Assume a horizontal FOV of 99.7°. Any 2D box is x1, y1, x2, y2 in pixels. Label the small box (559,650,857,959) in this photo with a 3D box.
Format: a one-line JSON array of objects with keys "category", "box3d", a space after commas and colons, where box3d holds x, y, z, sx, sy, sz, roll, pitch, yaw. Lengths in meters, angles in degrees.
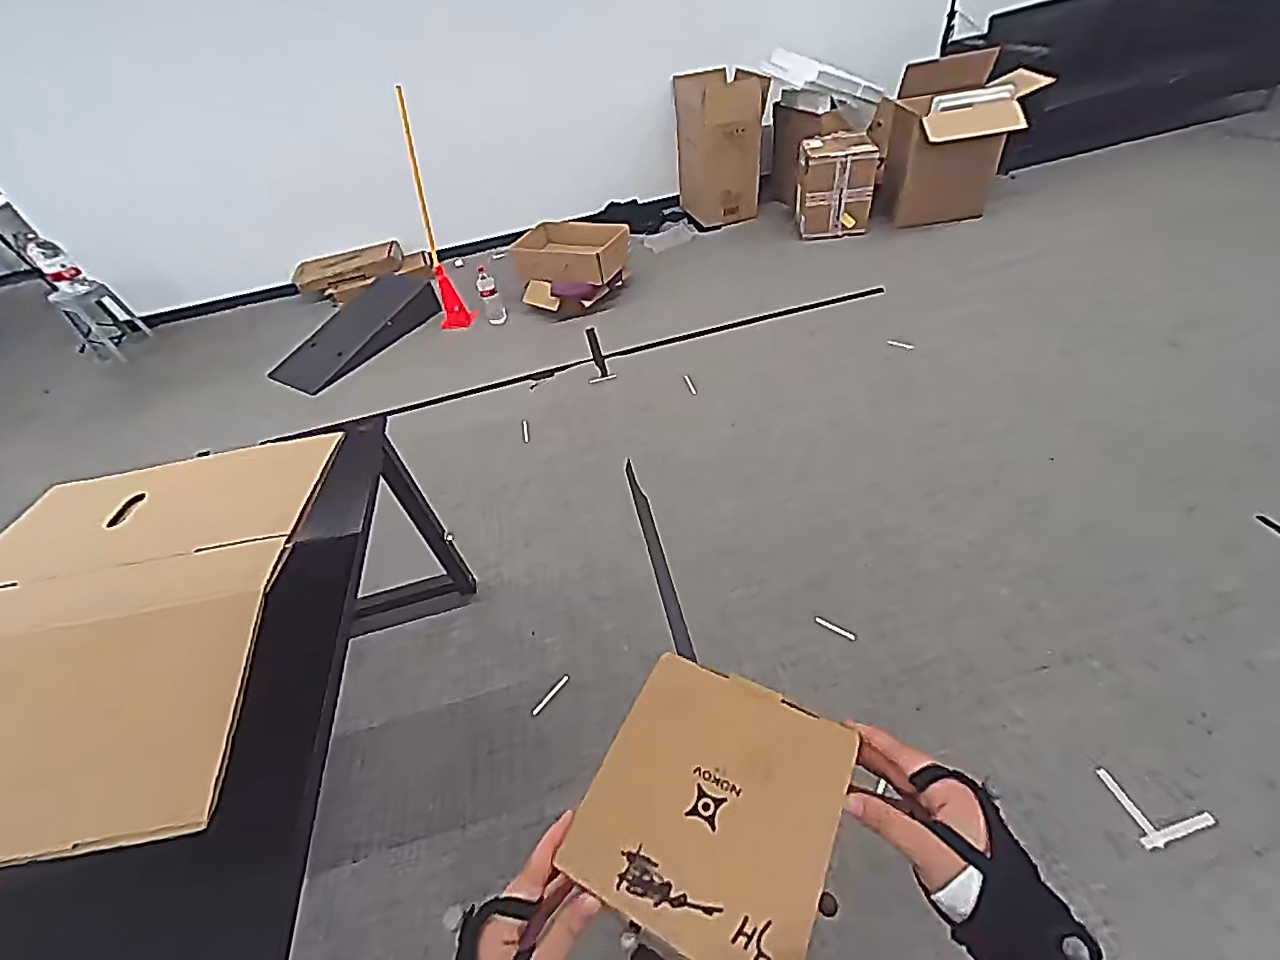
[{"category": "small box", "box3d": [0.063, 0.280, 0.440, 0.168, 0.176, 0.179, 14, 47, 27]}]
